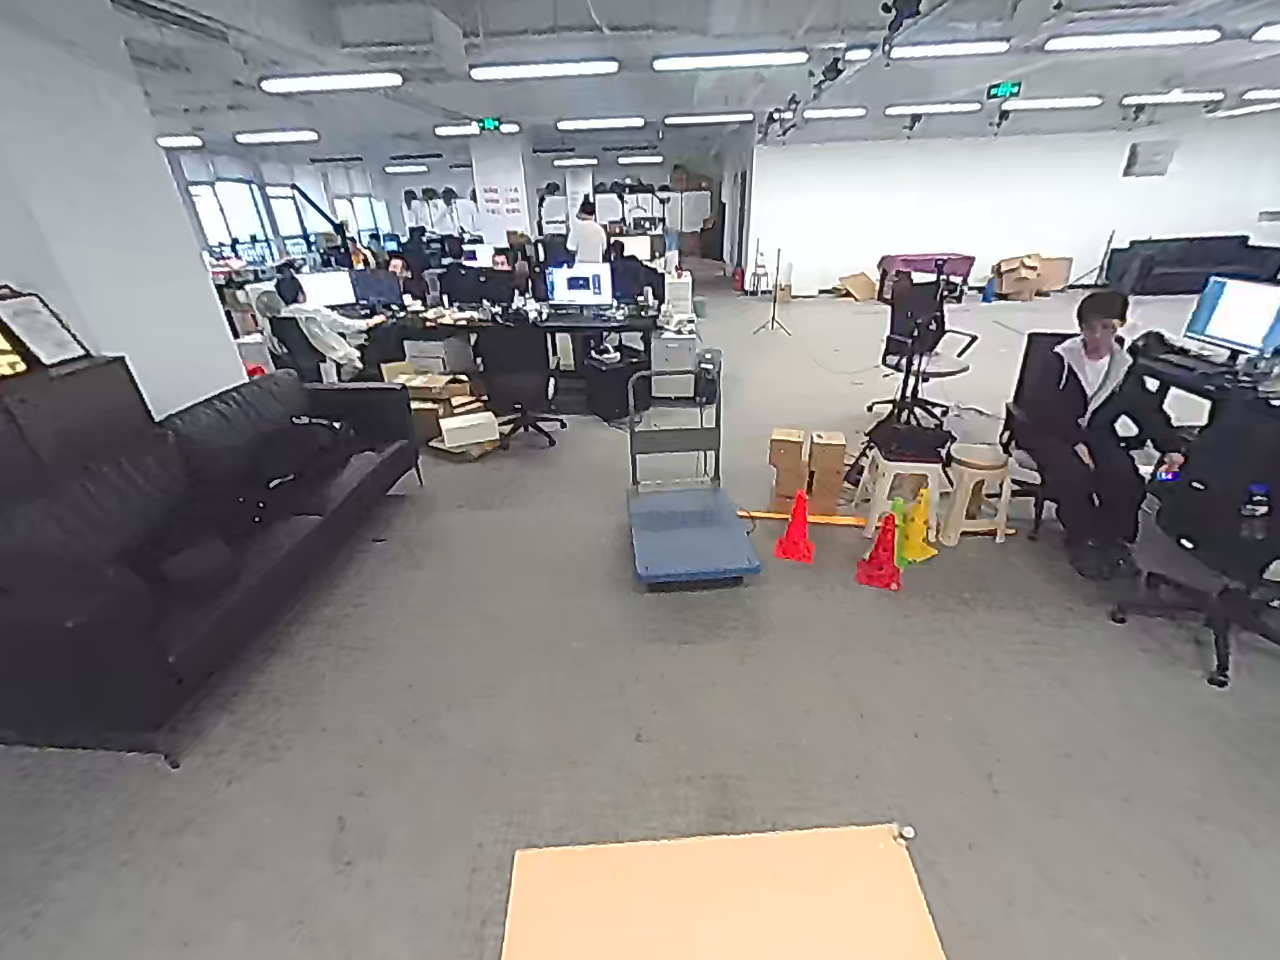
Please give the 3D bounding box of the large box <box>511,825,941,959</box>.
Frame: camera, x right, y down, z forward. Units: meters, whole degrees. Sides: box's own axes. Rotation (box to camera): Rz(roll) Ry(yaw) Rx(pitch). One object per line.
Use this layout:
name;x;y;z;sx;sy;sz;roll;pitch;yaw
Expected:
large box;0.087;0.598;0.551;0.408;0.320;0.320;-4;40;0
